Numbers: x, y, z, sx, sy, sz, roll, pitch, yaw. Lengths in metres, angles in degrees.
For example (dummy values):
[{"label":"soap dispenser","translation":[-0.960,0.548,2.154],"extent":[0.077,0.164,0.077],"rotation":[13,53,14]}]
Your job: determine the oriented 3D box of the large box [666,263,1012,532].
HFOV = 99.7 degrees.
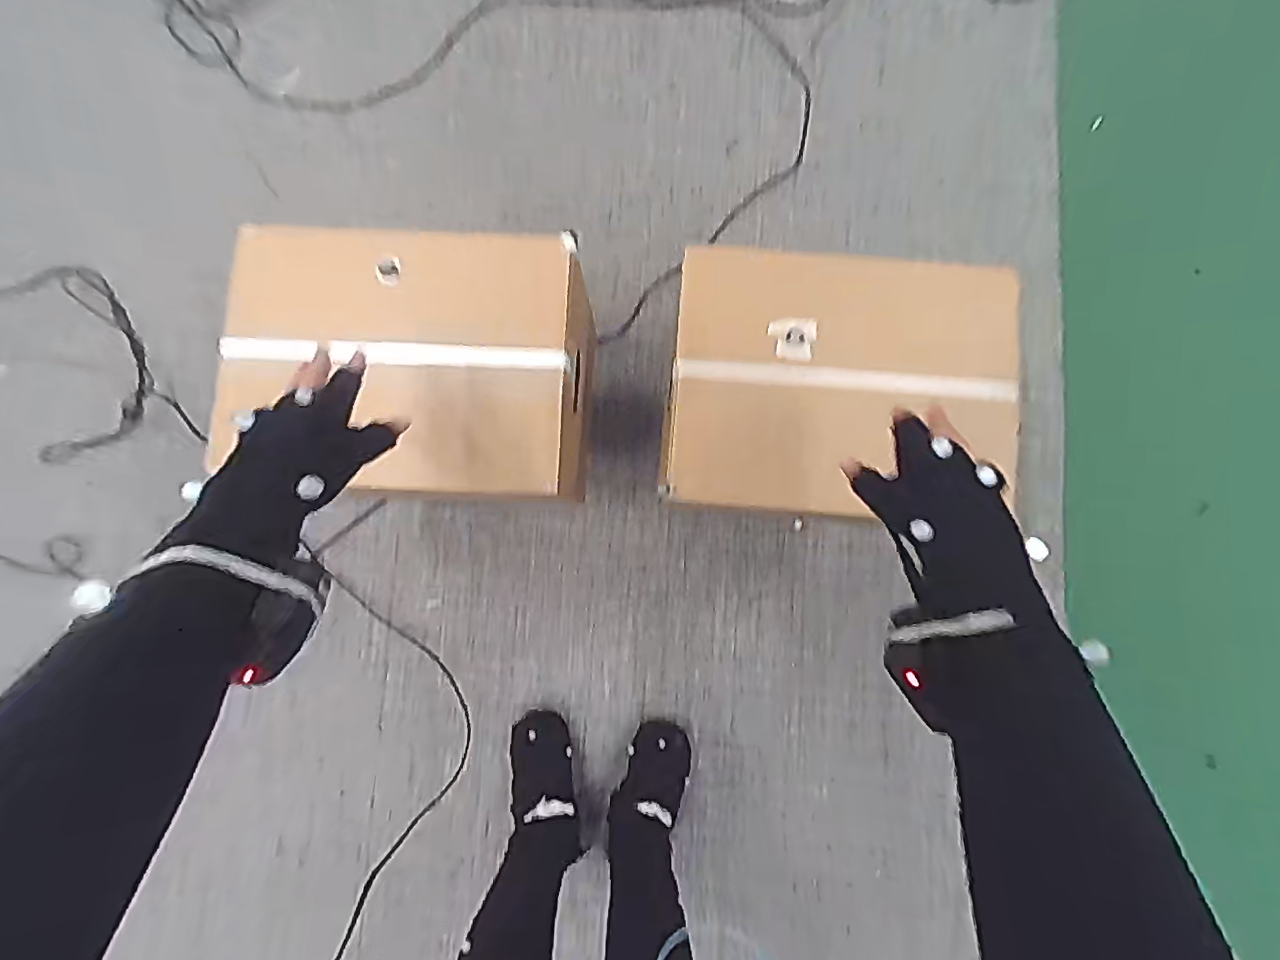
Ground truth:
[{"label":"large box","translation":[0.254,-0.095,0.808],"extent":[0.408,0.320,0.320],"rotation":[5,85,1]}]
